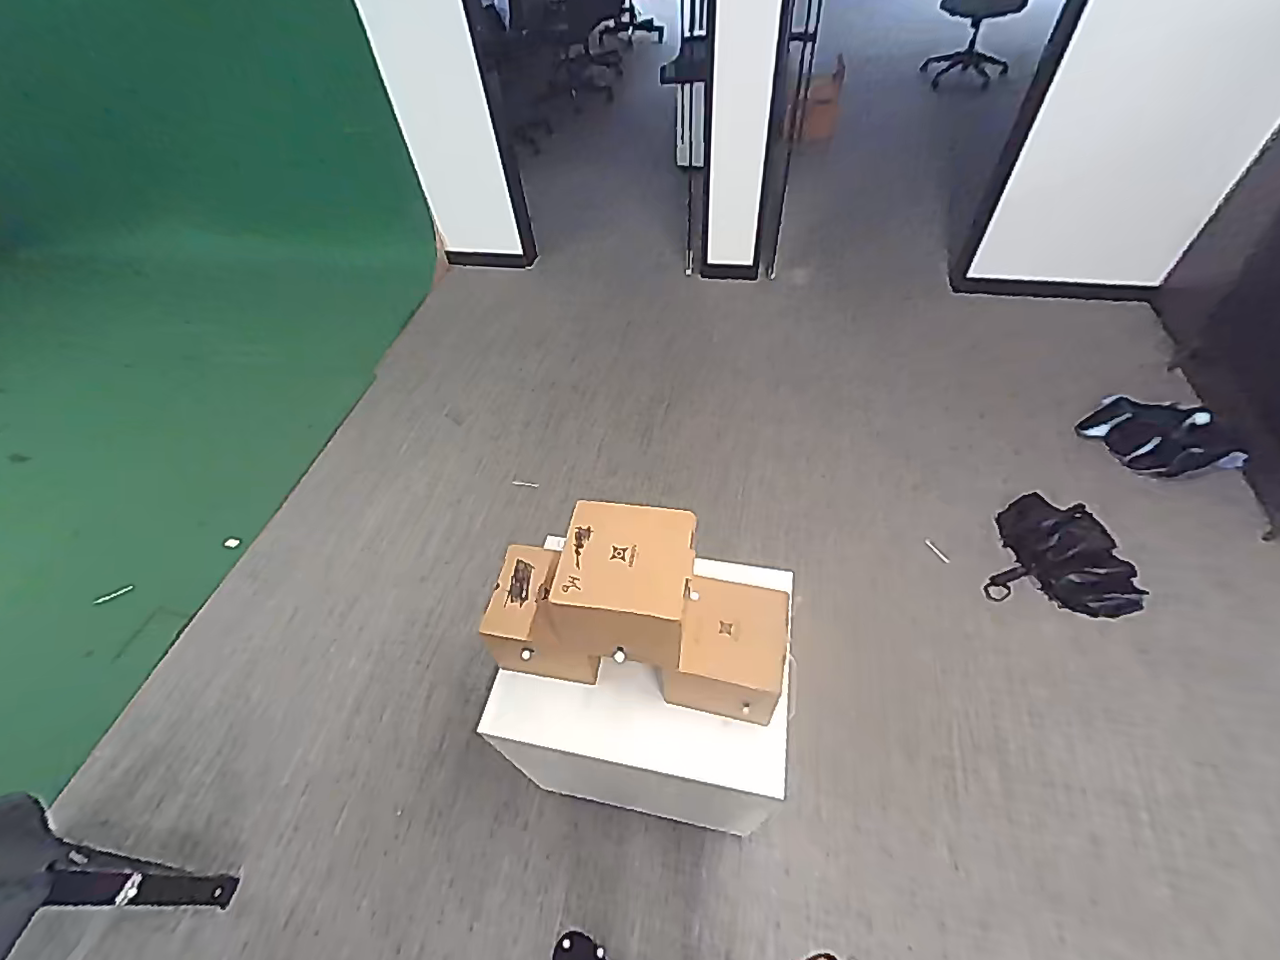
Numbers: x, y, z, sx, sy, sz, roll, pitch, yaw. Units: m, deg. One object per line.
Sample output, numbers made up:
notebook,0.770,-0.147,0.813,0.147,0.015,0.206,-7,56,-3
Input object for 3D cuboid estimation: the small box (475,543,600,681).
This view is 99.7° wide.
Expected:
small box,-0.154,0.232,0.934,0.179,0.176,0.168,8,53,8

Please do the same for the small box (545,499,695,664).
small box,-0.020,0.151,0.783,0.179,0.176,0.168,7,52,7

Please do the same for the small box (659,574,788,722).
small box,0.136,0.277,0.882,0.179,0.176,0.168,7,51,12
